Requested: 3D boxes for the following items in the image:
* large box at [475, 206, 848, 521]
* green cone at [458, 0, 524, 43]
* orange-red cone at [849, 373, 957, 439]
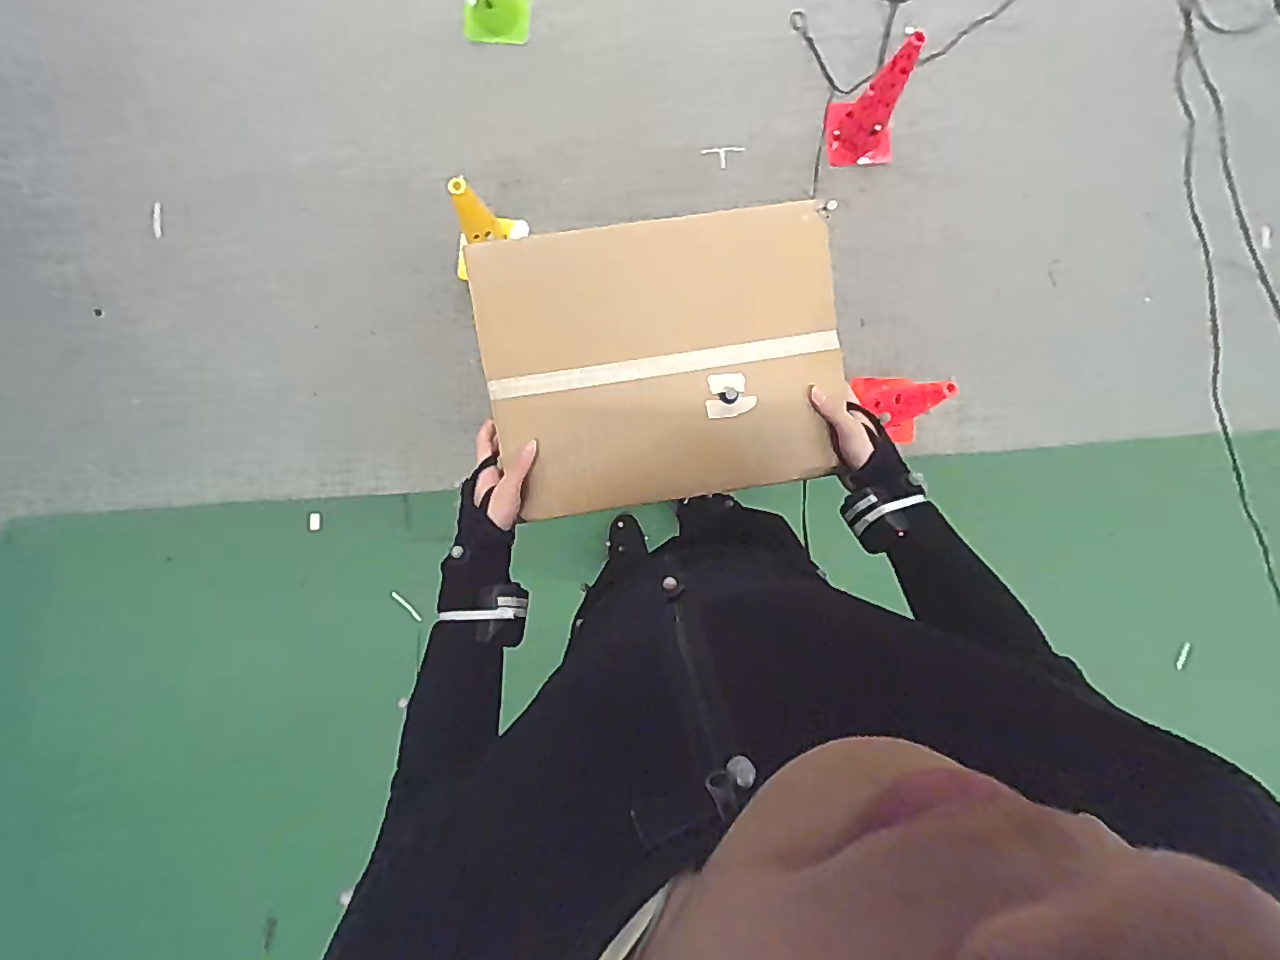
[{"bbox_3d":[0.022,-0.148,0.772,0.408,0.320,0.320,-9,98,-3],"label":"large box"},{"bbox_3d":[-0.457,-1.453,1.499,0.200,0.368,0.202,1,90,-1],"label":"green cone"},{"bbox_3d":[0.754,-0.229,1.497,0.199,0.360,0.198,3,90,-3],"label":"orange-red cone"}]
